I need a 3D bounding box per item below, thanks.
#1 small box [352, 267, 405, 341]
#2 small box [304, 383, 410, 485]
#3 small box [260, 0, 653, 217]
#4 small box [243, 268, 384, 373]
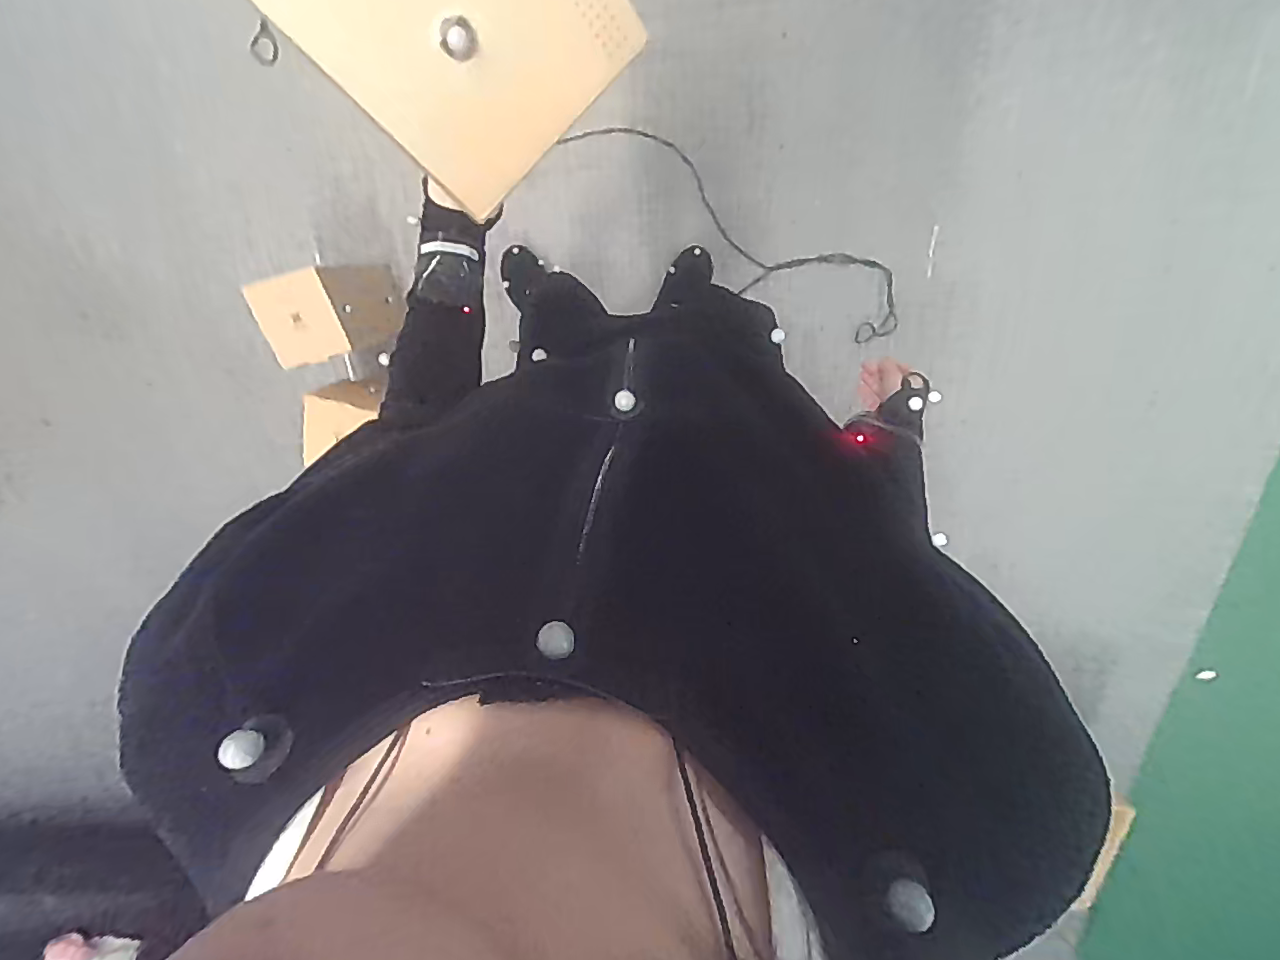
[{"bbox_3d":[-0.704,-0.422,1.329,0.179,0.176,0.168,-9,112,6],"label":"small box"},{"bbox_3d":[-0.666,-0.114,1.284,0.168,0.176,0.179,14,112,-3],"label":"small box"},{"bbox_3d":[-0.120,-0.327,0.361,0.176,0.168,0.179,-37,134,17],"label":"small box"},{"bbox_3d":[-0.696,-0.353,1.181,0.168,0.176,0.179,-13,112,7],"label":"small box"}]
